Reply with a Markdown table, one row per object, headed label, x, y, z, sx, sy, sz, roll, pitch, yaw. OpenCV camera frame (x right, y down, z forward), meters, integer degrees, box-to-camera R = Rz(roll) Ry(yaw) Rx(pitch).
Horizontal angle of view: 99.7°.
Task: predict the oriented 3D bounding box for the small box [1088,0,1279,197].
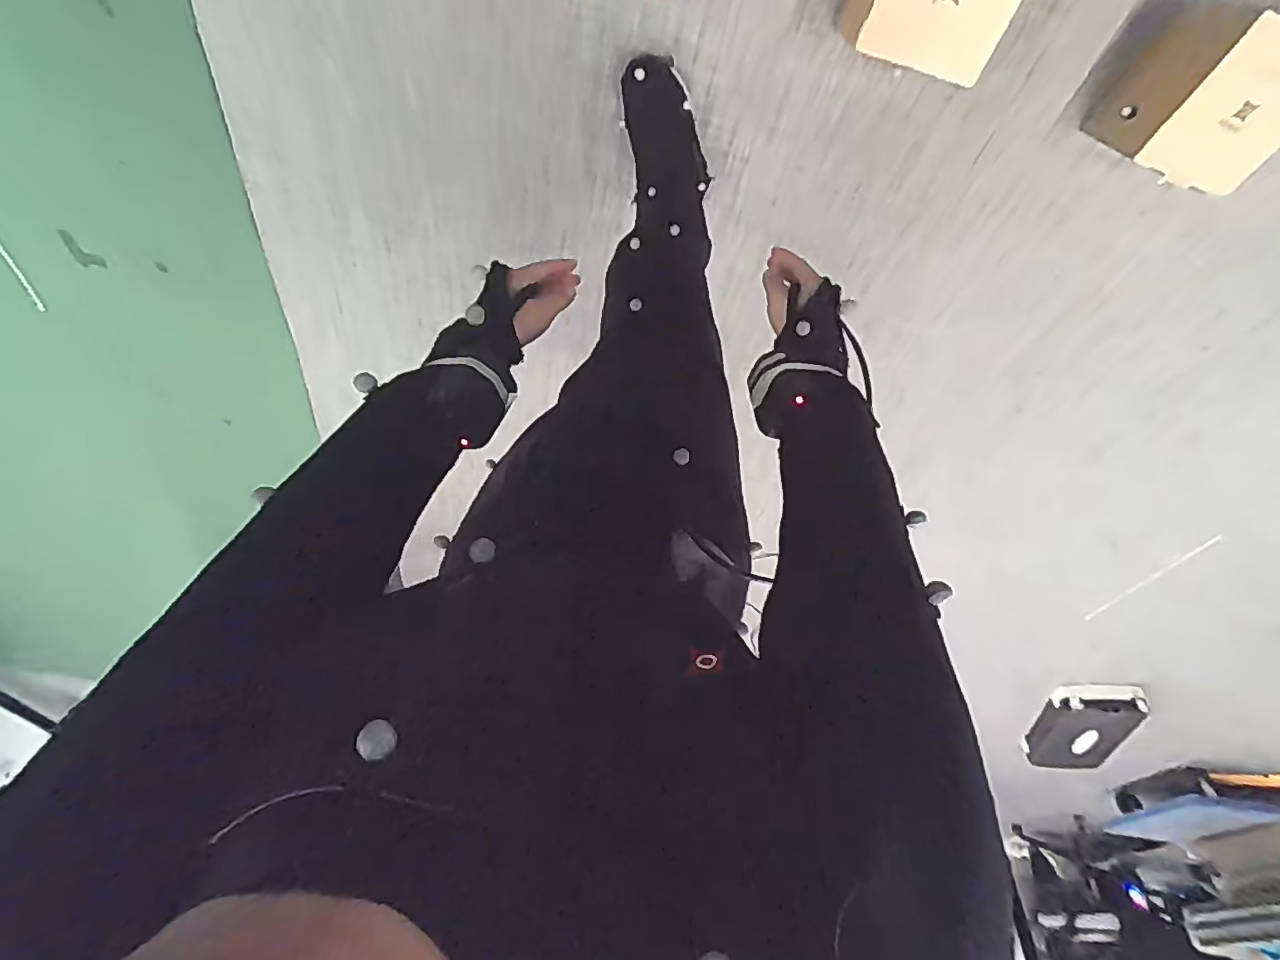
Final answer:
| label | x | y | z | sx | sy | sz | roll | pitch | yaw |
| --- | --- | --- | --- | --- | --- | --- | --- | --- | --- |
| small box | 0.798 | -0.547 | 0.773 | 0.168 | 0.176 | 0.179 | 15 | 135 | -9 |

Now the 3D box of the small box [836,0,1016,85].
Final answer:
| label | x | y | z | sx | sy | sz | roll | pitch | yaw |
| --- | --- | --- | --- | --- | --- | --- | --- | --- | --- |
| small box | 0.386 | -0.663 | 0.717 | 0.179 | 0.176 | 0.168 | 14 | 136 | -5 |
